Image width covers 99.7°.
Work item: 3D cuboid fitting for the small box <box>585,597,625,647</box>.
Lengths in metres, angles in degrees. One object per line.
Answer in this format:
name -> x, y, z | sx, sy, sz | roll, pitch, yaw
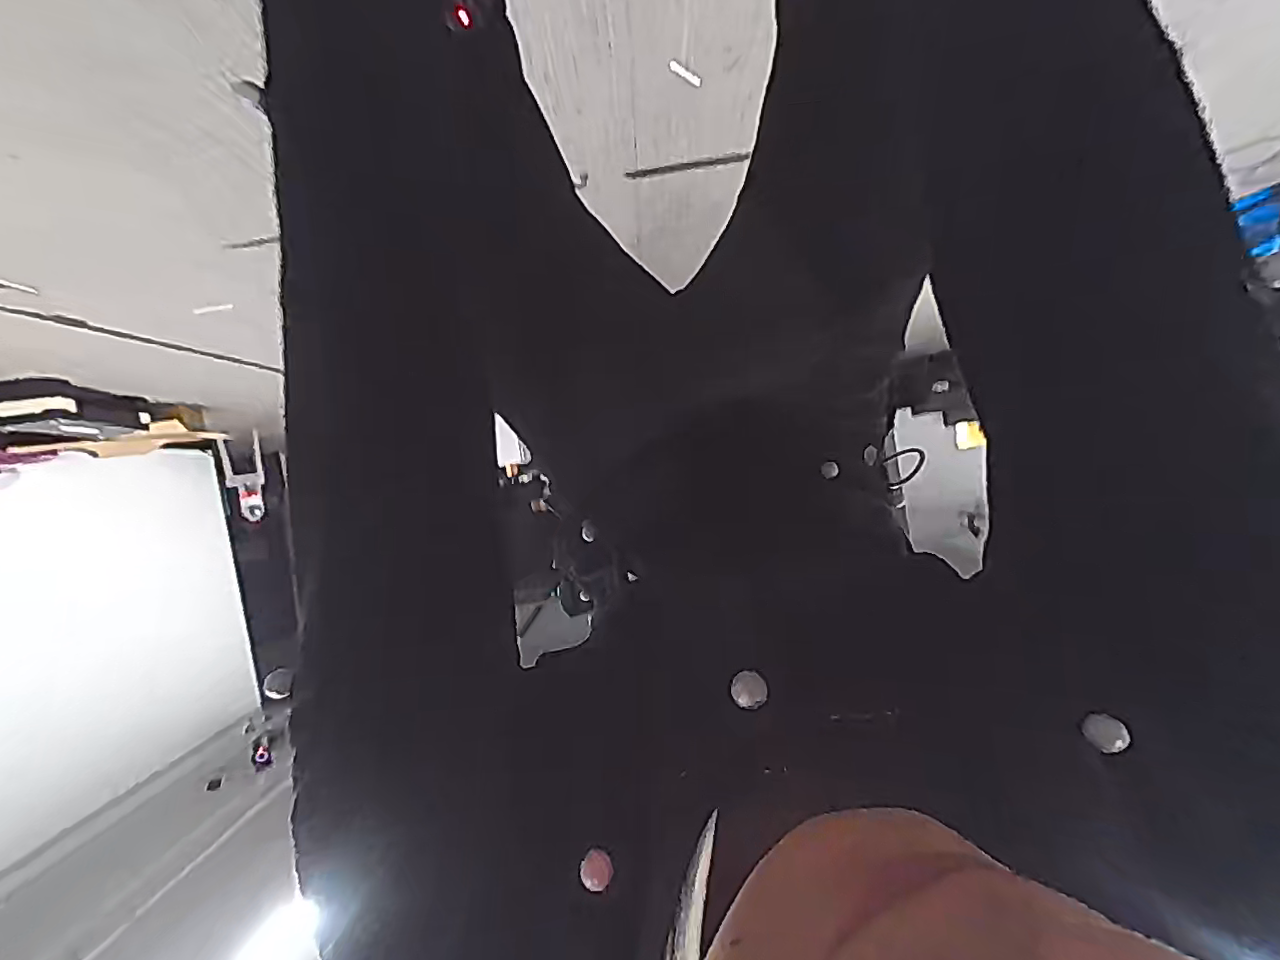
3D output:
small box -> -0.172, 0.687, 2.633 | 0.168, 0.176, 0.179 | -10, -175, -2
